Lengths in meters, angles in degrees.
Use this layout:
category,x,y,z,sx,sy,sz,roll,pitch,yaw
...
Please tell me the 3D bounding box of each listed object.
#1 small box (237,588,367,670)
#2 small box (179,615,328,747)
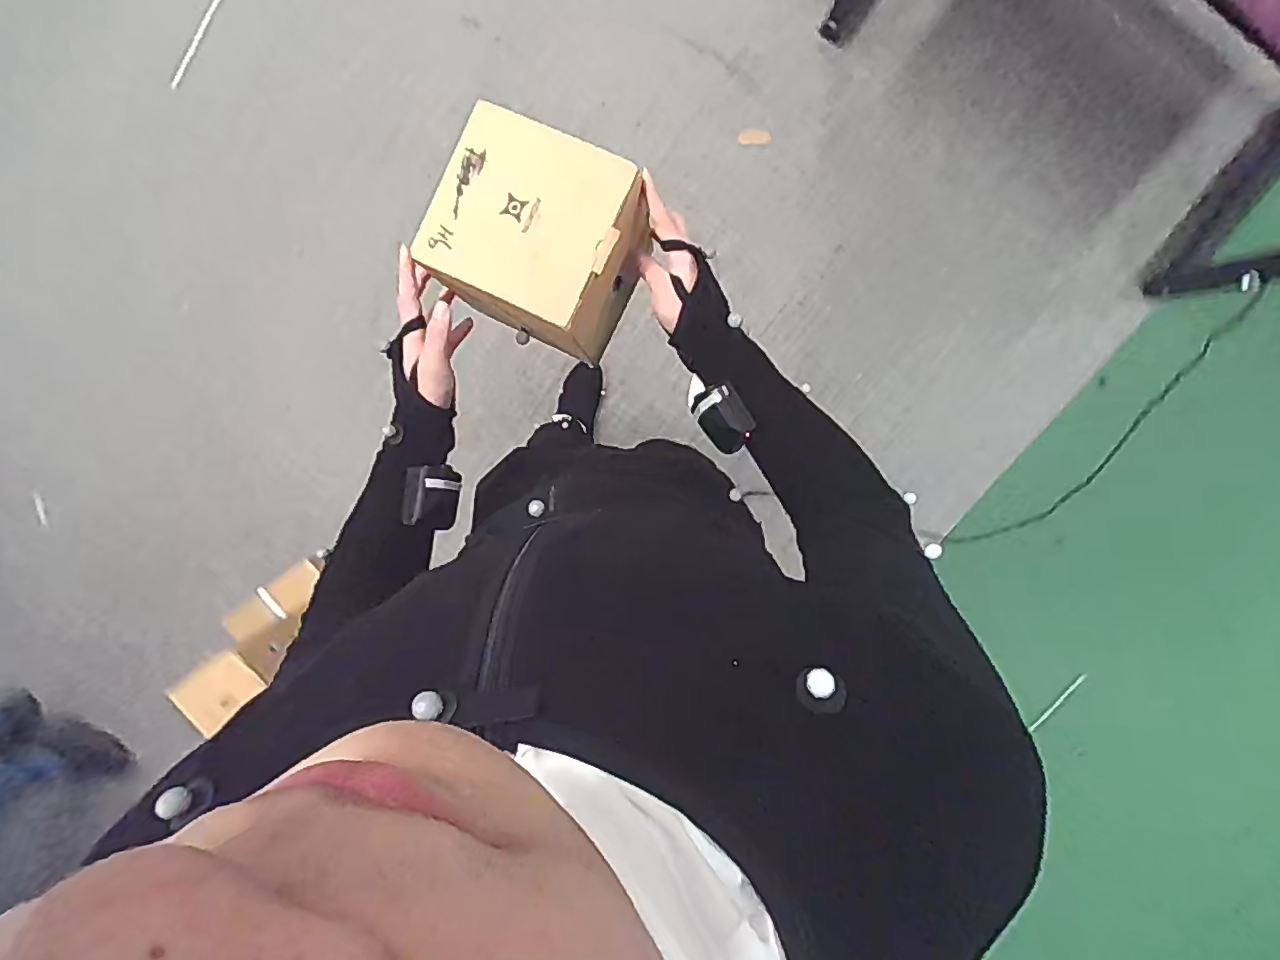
category,x,y,z,sx,sy,sz,roll,pitch,yaw
small box,-0.823,0.397,1.334,0.179,0.176,0.168,-33,99,5
small box,-0.818,0.425,1.174,0.179,0.176,0.168,-35,98,7
